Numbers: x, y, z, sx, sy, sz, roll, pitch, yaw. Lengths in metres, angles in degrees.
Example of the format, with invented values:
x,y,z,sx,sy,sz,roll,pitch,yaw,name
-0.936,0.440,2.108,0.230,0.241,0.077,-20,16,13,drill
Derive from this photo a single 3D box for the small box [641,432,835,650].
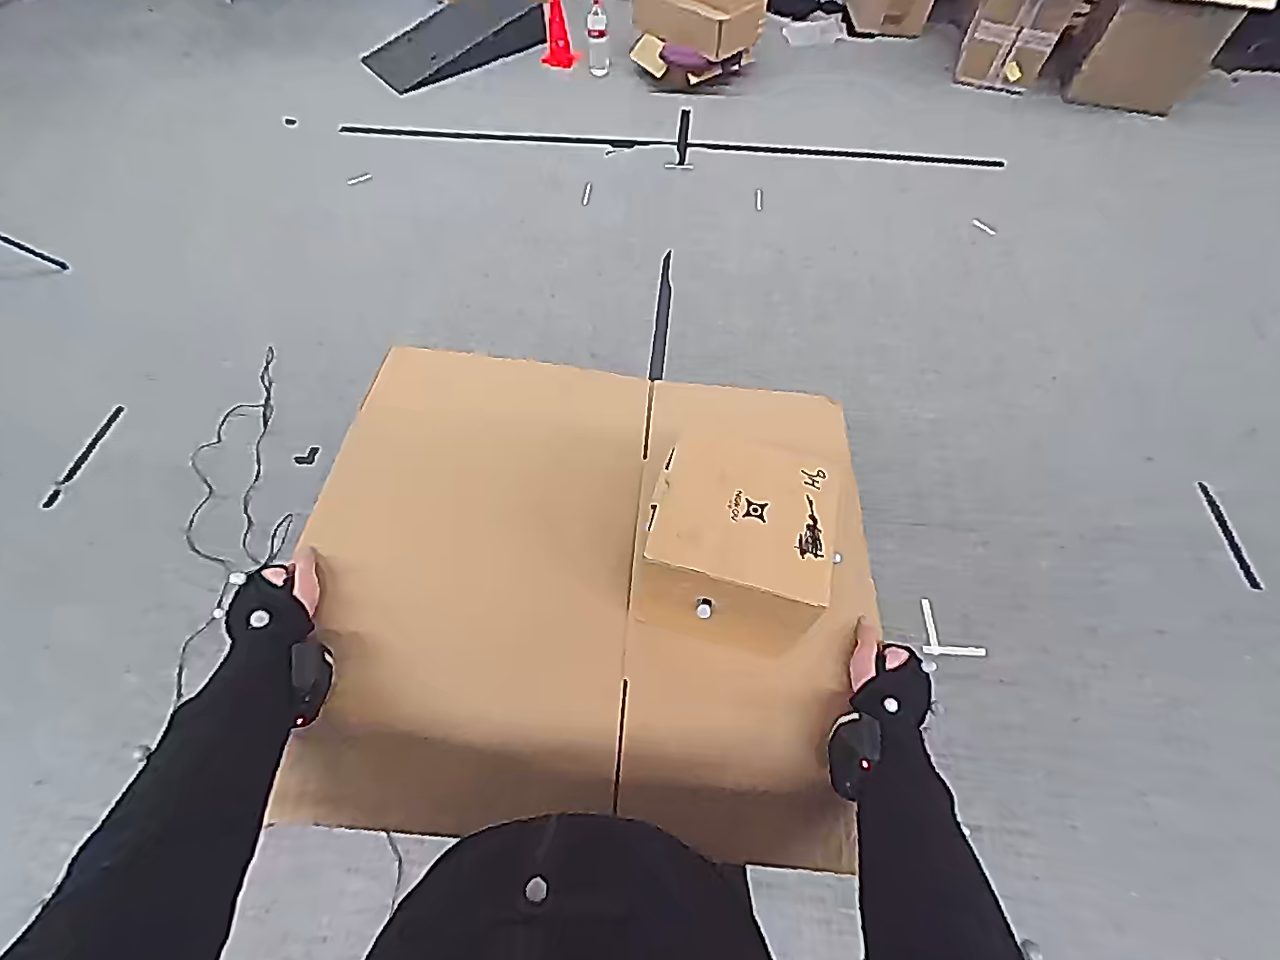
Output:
x,y,z,sx,sy,sz,roll,pitch,yaw,name
0.103,0.075,0.609,0.179,0.176,0.168,13,57,7,small box
